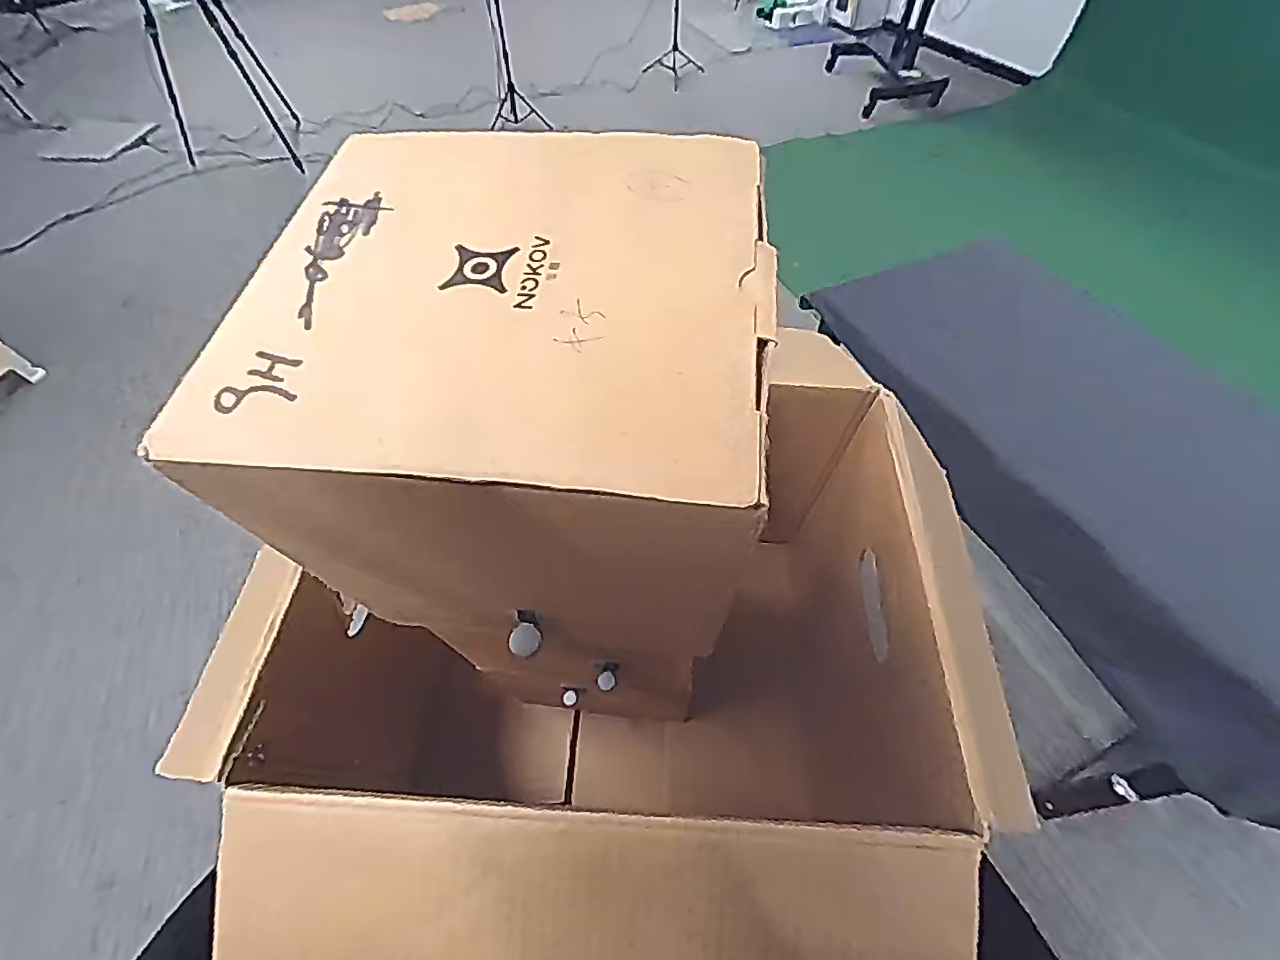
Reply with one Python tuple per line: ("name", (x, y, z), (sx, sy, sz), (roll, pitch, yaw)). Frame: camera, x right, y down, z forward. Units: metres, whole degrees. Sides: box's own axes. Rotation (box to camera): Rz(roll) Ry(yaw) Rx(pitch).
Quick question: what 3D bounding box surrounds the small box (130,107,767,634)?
("small box", (-0.045, -0.035, 0.251), (0.179, 0.176, 0.168), (5, 60, 4))
